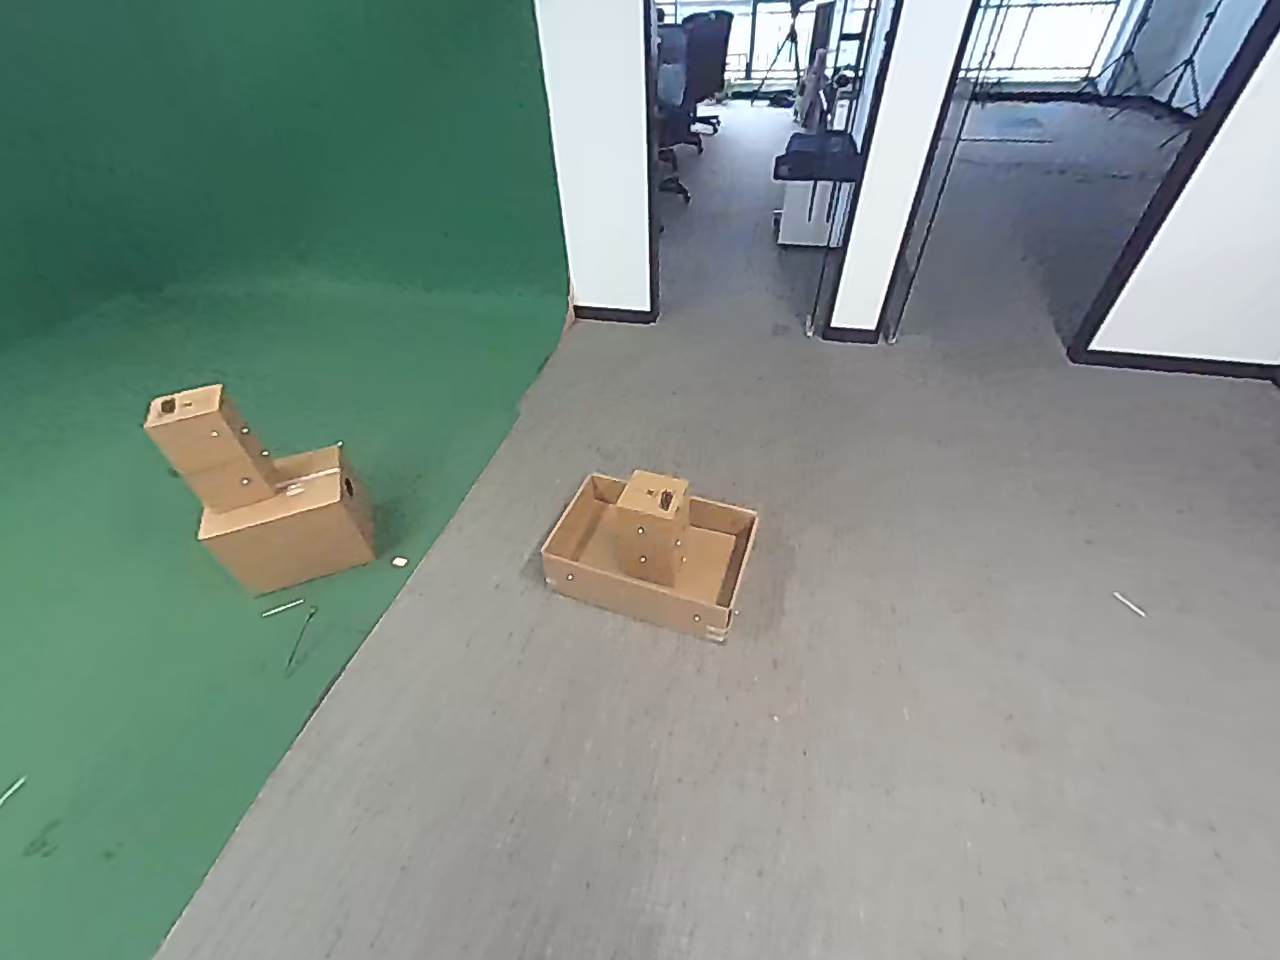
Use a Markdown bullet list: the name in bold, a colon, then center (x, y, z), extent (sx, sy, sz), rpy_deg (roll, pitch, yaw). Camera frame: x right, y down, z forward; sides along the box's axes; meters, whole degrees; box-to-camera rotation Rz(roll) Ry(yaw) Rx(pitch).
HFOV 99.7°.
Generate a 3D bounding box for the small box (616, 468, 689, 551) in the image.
- **small box**: center (0.043, 0.093, 1.636), extent (0.179, 0.176, 0.168), rpy_deg (13, 46, 18)

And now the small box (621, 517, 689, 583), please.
- **small box**: center (0.052, 0.210, 1.751), extent (0.179, 0.176, 0.168), rpy_deg (13, 47, 16)
